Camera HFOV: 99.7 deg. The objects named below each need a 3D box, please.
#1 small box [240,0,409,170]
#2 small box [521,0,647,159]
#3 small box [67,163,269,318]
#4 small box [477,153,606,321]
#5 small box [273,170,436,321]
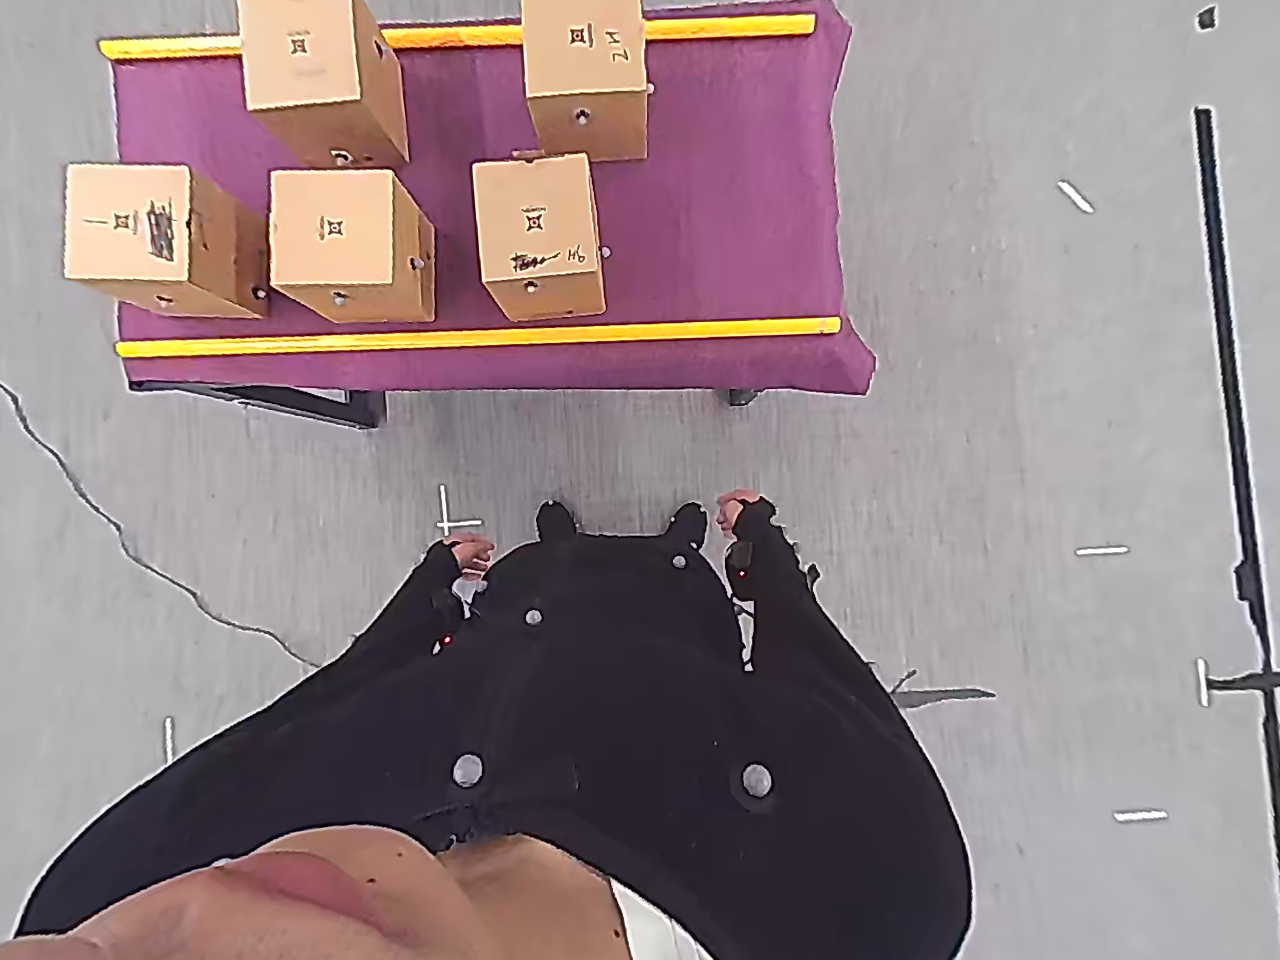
[{"bbox_3d":[-0.480,-0.619,0.845,0.168,0.176,0.179,-5,90,1],"label":"small box"},{"bbox_3d":[-0.079,-0.628,0.845,0.179,0.176,0.168,-3,91,0],"label":"small box"},{"bbox_3d":[-0.713,-0.359,0.837,0.179,0.176,0.168,1,89,0],"label":"small box"},{"bbox_3d":[-0.144,-0.367,0.840,0.168,0.176,0.179,-5,87,0],"label":"small box"},{"bbox_3d":[-0.430,-0.354,0.841,0.179,0.176,0.168,-1,89,1],"label":"small box"}]
